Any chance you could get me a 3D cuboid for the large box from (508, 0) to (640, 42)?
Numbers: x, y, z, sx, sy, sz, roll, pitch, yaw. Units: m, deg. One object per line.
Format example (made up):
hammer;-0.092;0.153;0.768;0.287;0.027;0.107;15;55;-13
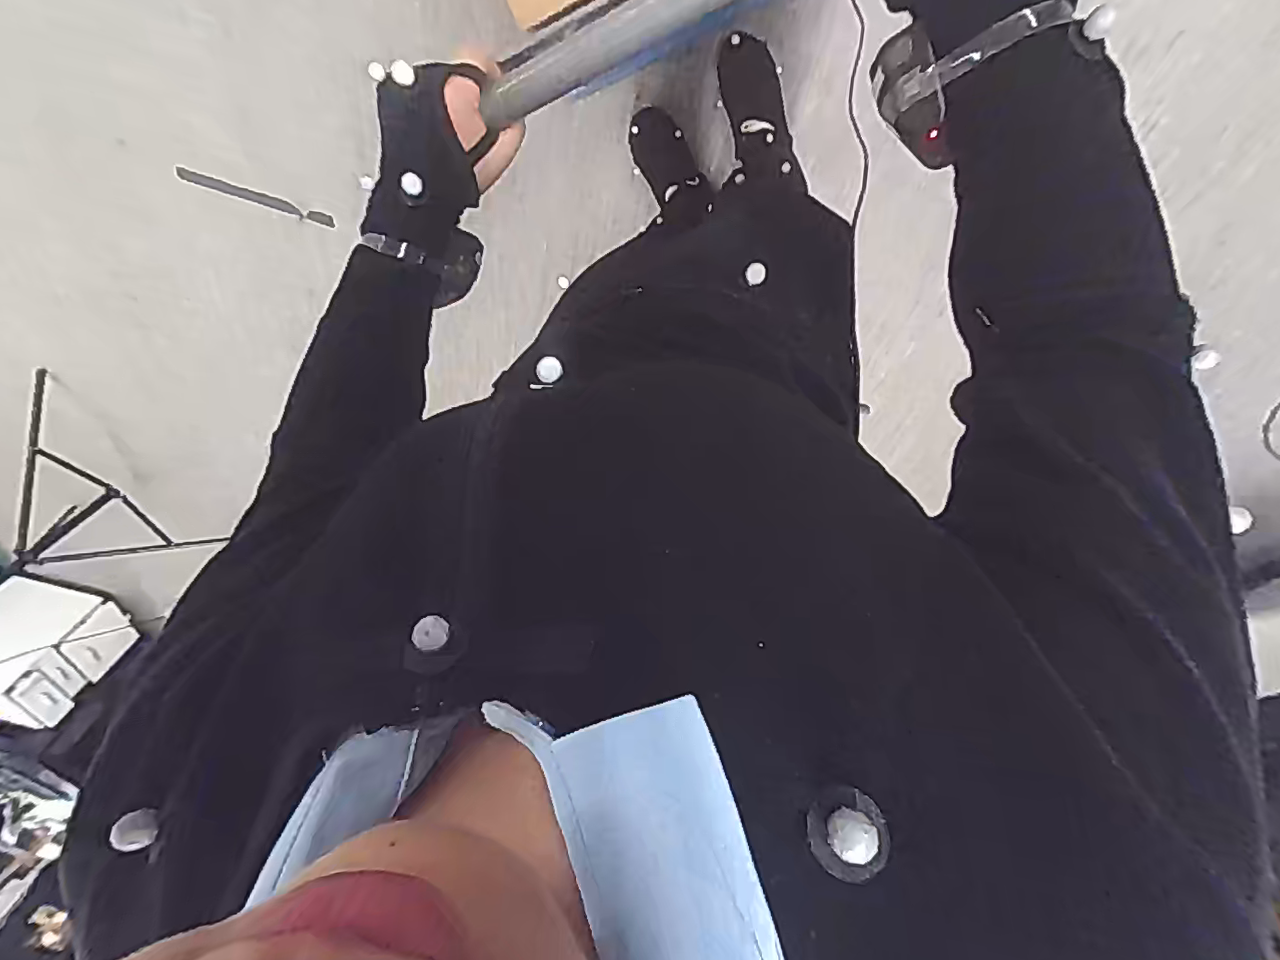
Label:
large box;-0.007;-0.806;0.644;0.408;0.320;0.320;-14;128;21
